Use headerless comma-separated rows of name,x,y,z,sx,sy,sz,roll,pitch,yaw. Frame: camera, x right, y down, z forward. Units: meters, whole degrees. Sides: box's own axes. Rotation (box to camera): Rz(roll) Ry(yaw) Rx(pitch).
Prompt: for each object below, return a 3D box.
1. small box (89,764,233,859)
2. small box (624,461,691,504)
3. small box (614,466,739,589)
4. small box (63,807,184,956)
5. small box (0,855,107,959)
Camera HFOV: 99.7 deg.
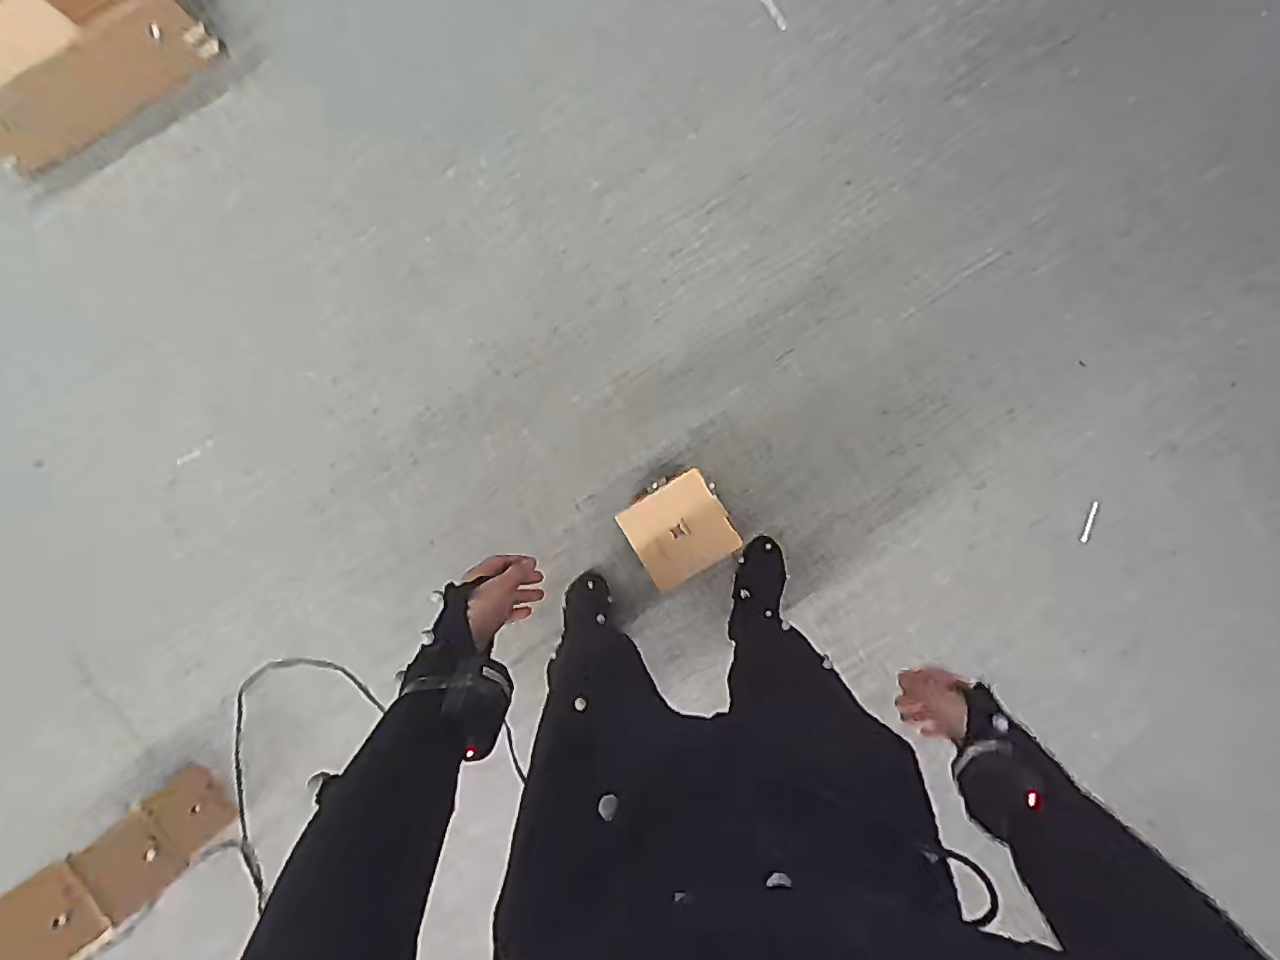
small box,-1.097,0.804,1.250,0.179,0.176,0.168,-41,88,2
small box,0.079,0.077,1.216,0.168,0.176,0.179,-32,88,2
small box,0.068,0.085,1.053,0.179,0.176,0.168,-32,87,2
small box,-1.089,0.814,1.086,0.179,0.176,0.168,-37,89,1
small box,-1.095,0.805,0.924,0.179,0.176,0.168,-38,88,0
